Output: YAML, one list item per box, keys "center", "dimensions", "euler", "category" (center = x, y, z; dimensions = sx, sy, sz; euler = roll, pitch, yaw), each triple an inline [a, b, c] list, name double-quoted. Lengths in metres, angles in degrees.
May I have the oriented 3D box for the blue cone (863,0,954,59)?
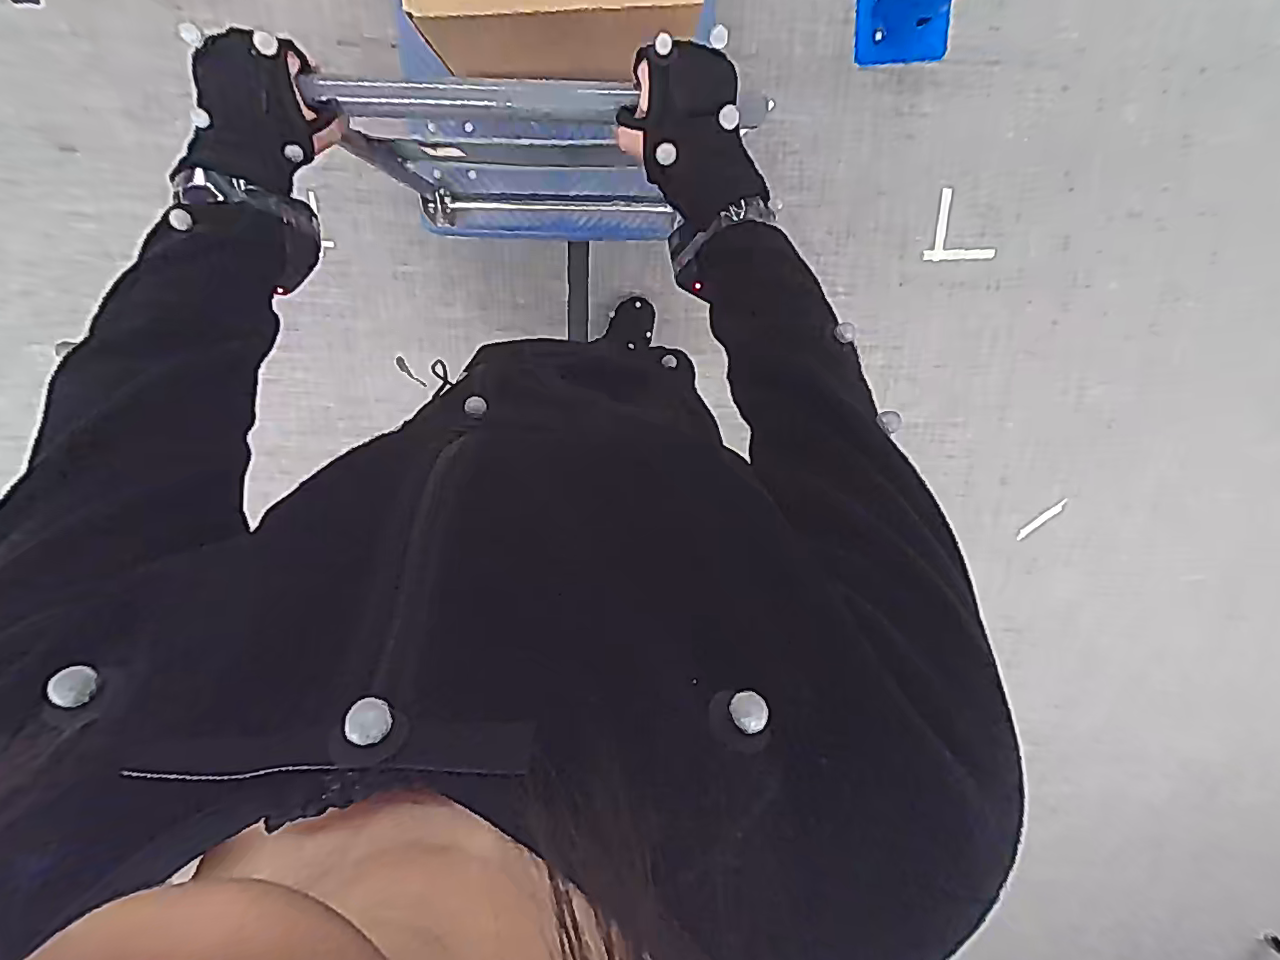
- center: [0.568, -0.946, 0.978]
  dimensions: [0.193, 0.380, 0.192]
  euler: [-3, 108, -1]
  category: "blue cone"
